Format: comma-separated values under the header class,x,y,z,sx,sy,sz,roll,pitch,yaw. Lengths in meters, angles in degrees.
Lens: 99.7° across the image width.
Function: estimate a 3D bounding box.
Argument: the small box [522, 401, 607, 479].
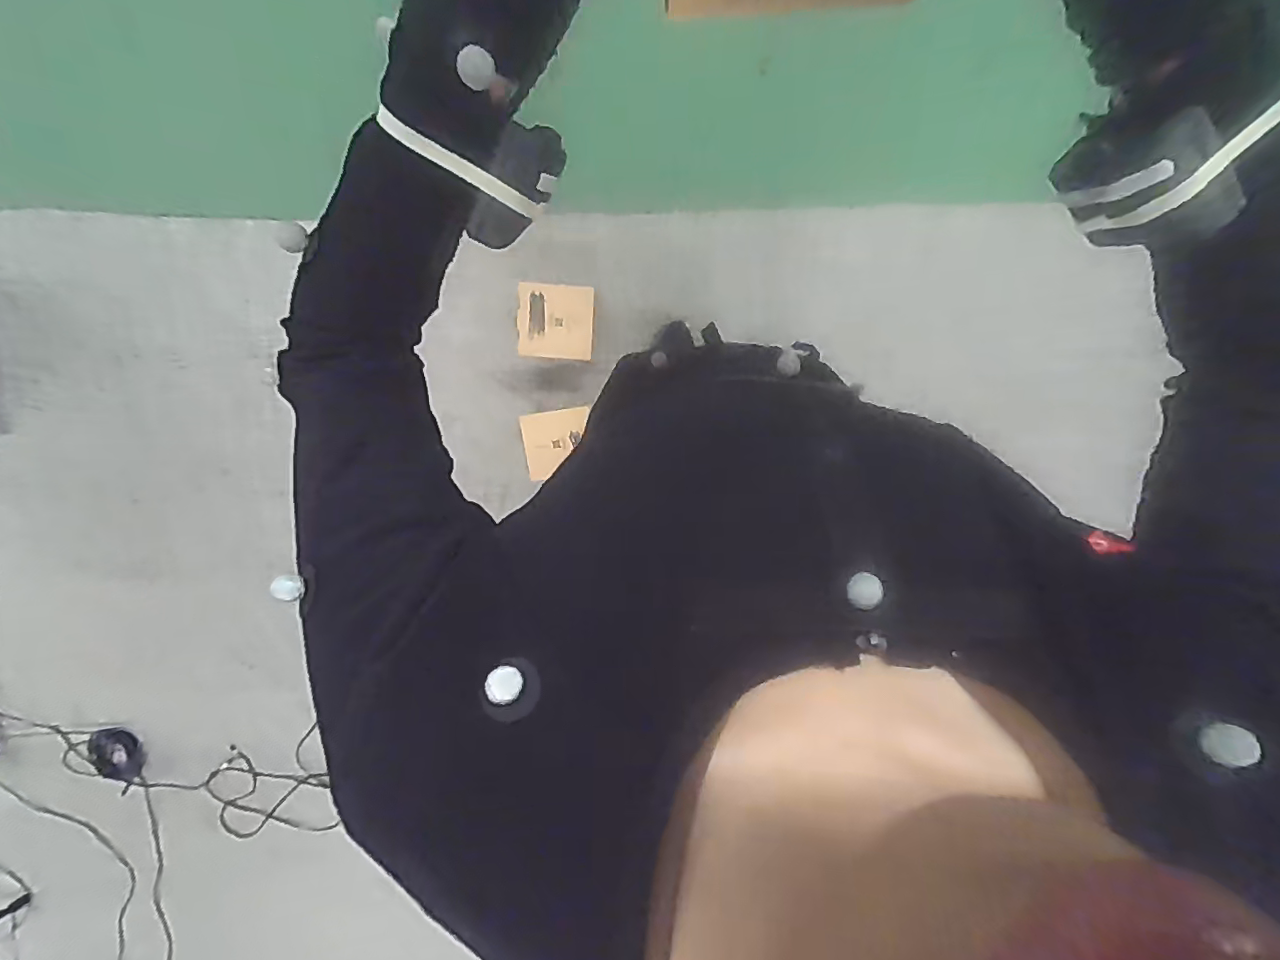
class,x,y,z,sx,sy,sz,roll,pitch,yaw
small box,-0.182,-0.107,1.376,0.179,0.176,0.168,-8,101,4
